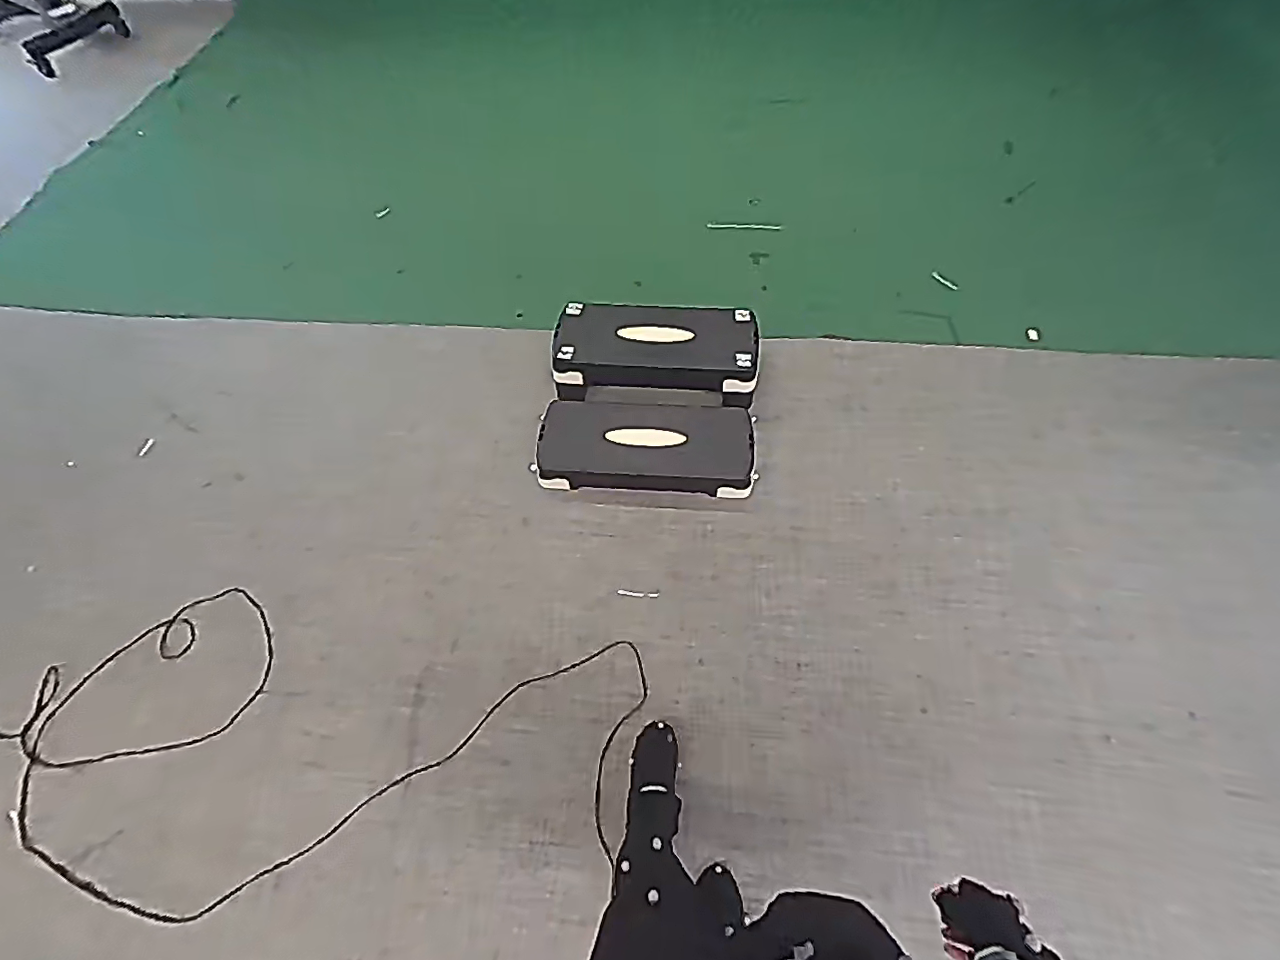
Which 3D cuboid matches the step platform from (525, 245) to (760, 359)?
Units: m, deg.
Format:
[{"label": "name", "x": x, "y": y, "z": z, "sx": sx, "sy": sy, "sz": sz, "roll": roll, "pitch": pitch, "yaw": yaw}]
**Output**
[{"label": "step platform", "x": 0.010, "y": -0.543, "z": 1.659, "sx": 0.684, "sy": 0.204, "sz": 0.286, "roll": 3, "pitch": 60, "yaw": 4}]
